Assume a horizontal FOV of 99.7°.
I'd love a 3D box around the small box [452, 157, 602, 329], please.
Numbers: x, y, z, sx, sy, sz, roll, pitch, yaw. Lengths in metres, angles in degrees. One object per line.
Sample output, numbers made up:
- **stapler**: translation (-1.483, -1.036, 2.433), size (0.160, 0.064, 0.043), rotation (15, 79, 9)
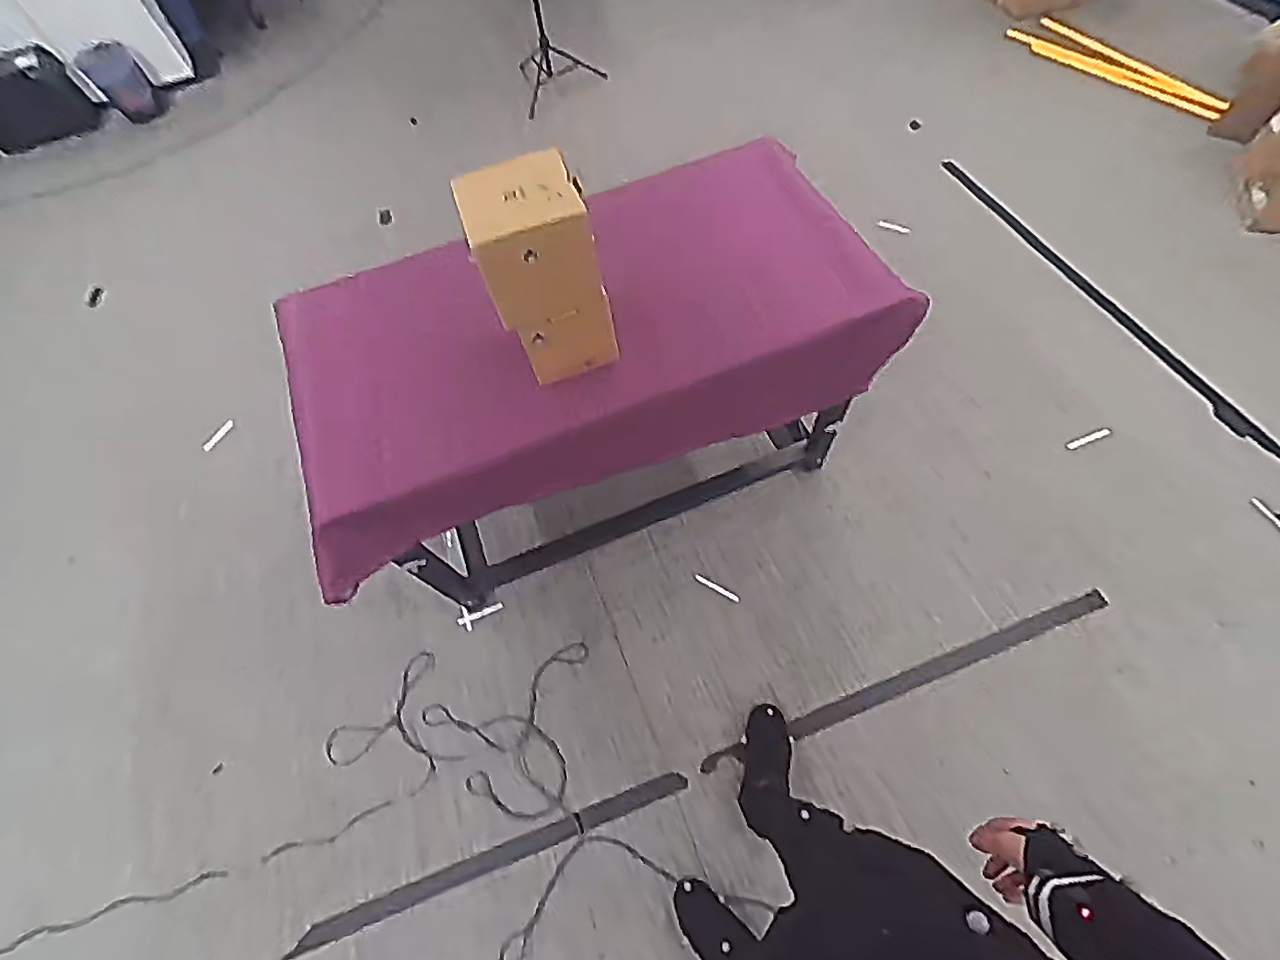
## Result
- **small box**: translation (-0.176, -0.373, 0.870), size (0.179, 0.176, 0.168), rotation (-20, 63, -5)
